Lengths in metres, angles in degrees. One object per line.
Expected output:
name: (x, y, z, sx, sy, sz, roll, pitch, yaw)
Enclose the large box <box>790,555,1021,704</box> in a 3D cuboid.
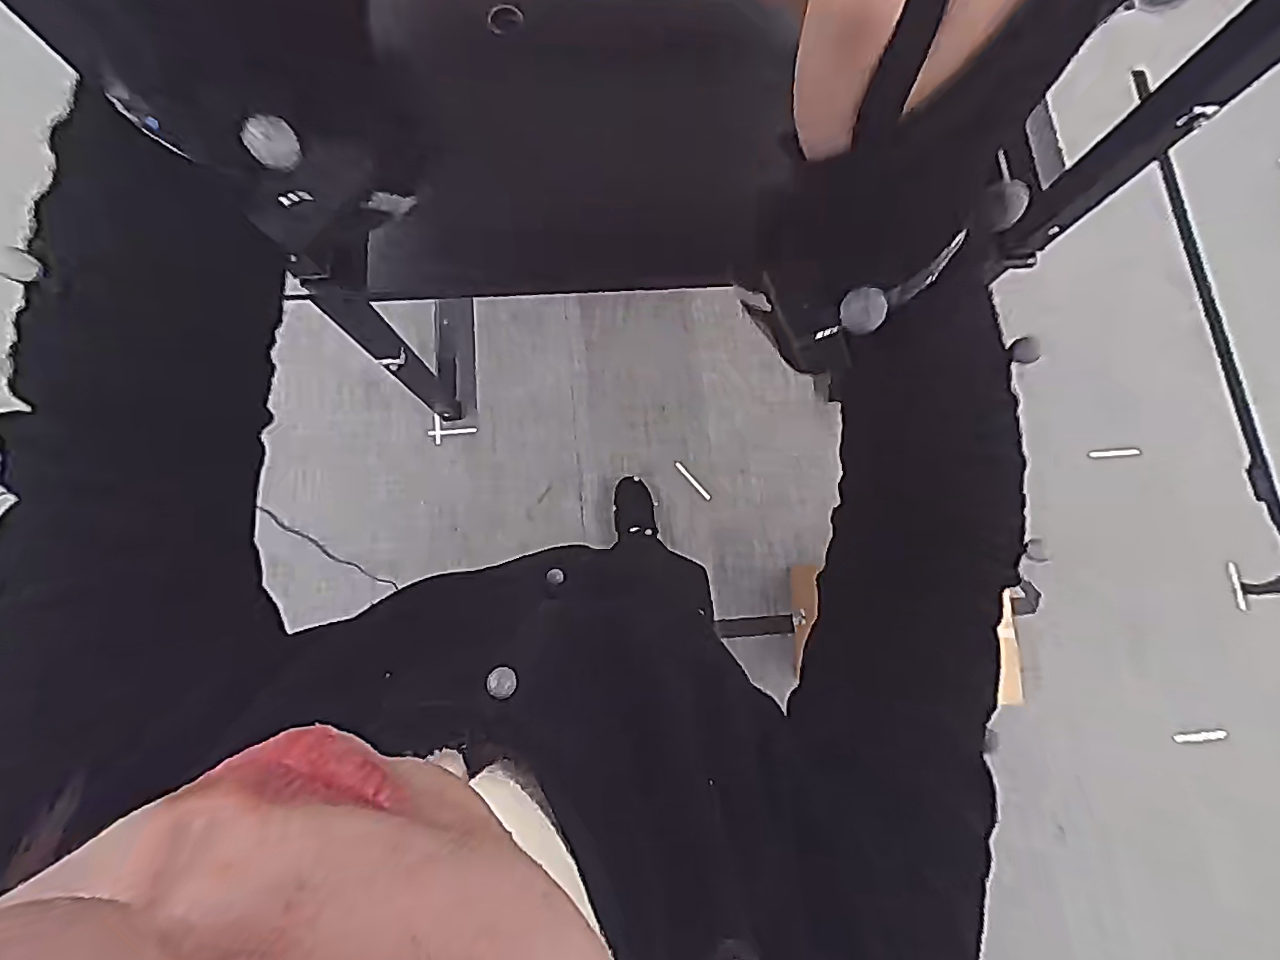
large box: (0.627, 0.353, 1.344, 0.408, 0.320, 0.320, 0, 81, -3)
